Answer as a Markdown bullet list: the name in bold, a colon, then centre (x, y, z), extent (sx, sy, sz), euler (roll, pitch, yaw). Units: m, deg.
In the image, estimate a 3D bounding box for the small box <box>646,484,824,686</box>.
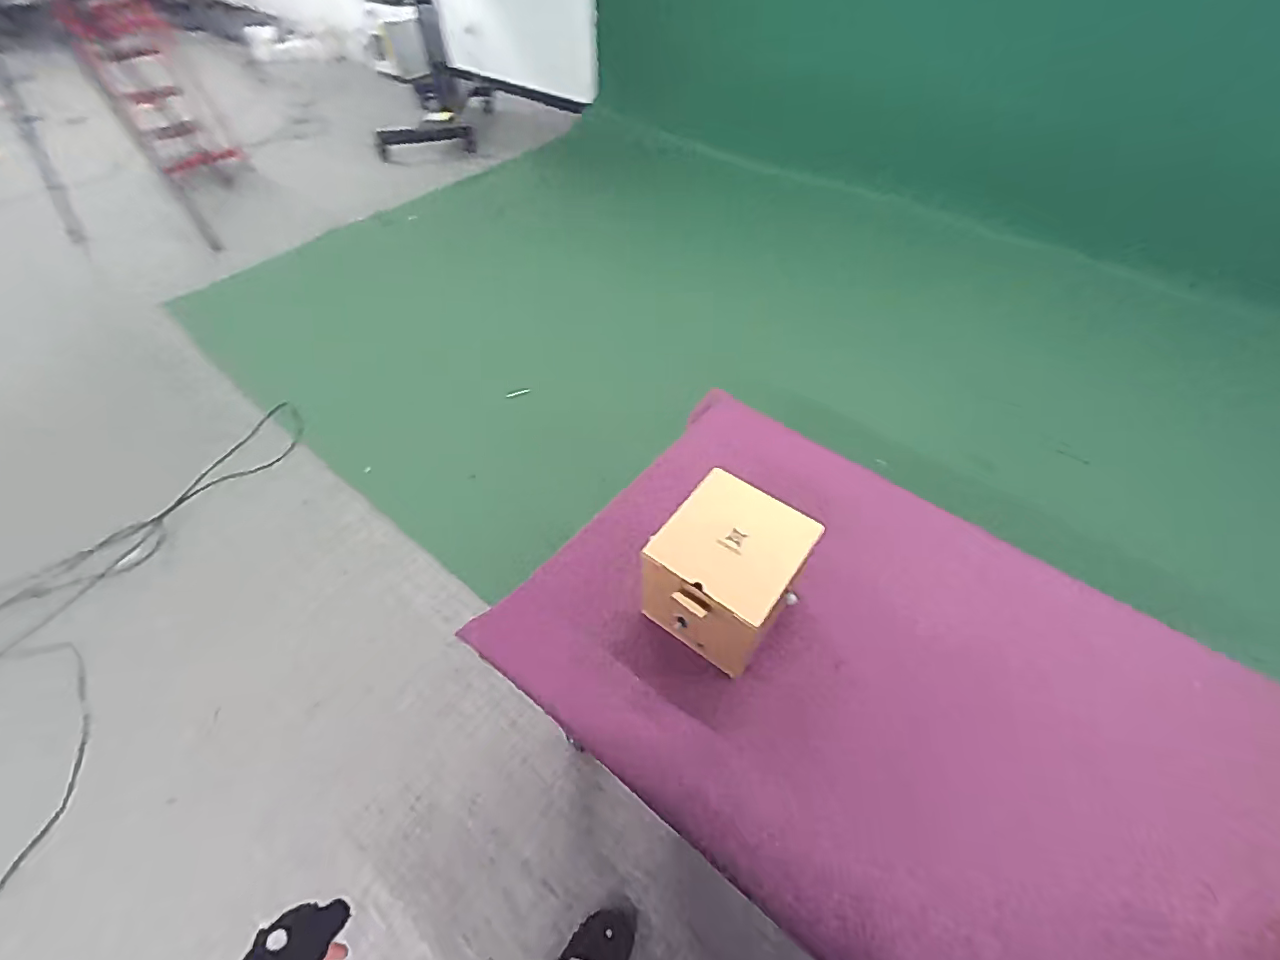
- **small box**: centre (0.119, 0.145, 0.740), extent (0.168, 0.176, 0.179), euler (31, 59, 22)
